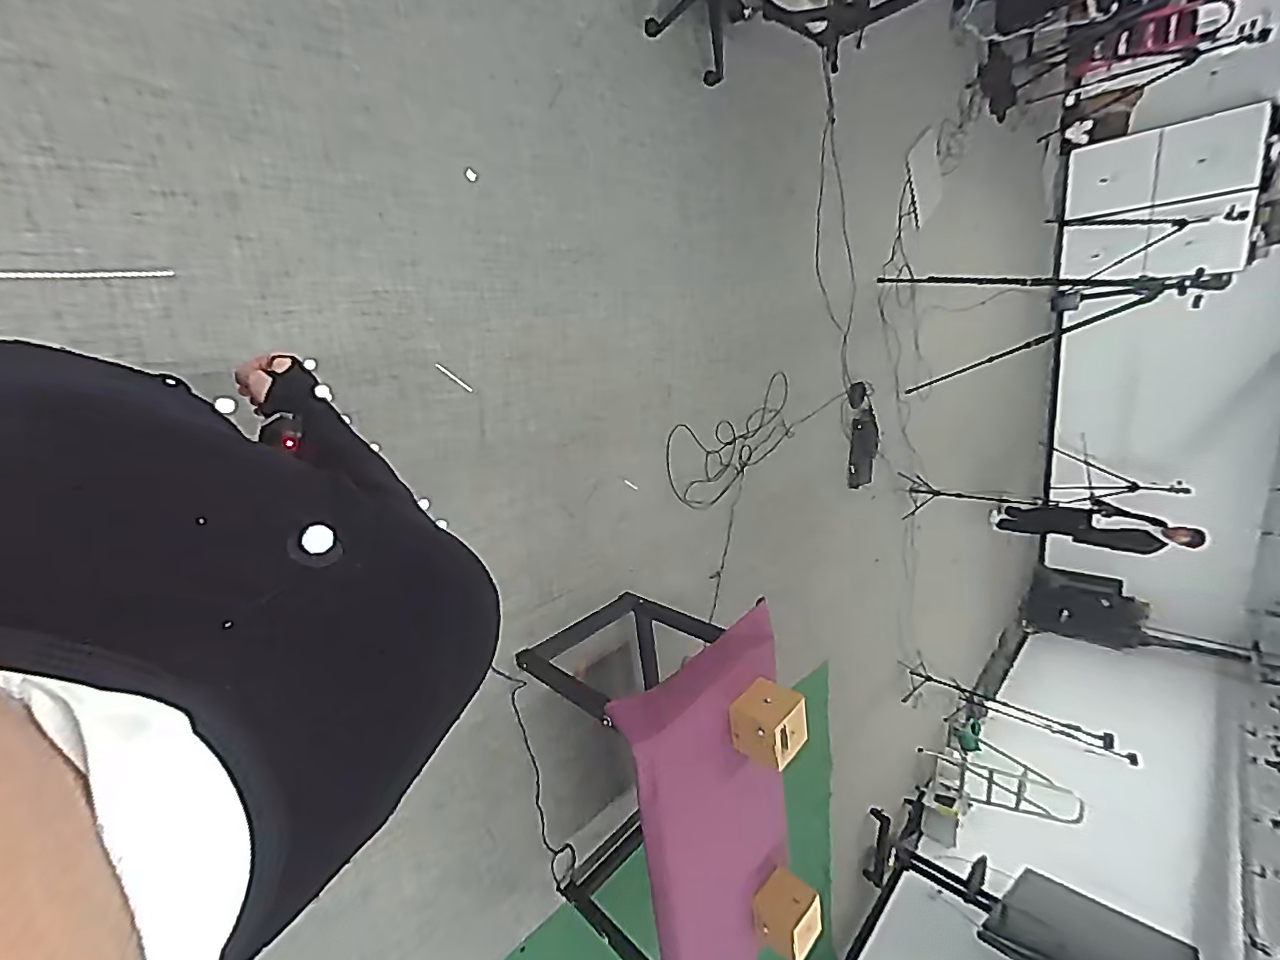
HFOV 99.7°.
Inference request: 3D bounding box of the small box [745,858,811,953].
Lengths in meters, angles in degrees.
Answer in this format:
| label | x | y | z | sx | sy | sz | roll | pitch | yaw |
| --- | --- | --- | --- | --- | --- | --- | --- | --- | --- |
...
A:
| label | x | y | z | sx | sy | sz | roll | pitch | yaw |
| --- | --- | --- | --- | --- | --- | --- | --- | --- | --- |
| small box | 0.505 | 1.546 | 1.979 | 0.179 | 0.176 | 0.168 | -18 | 107 | -41 |
